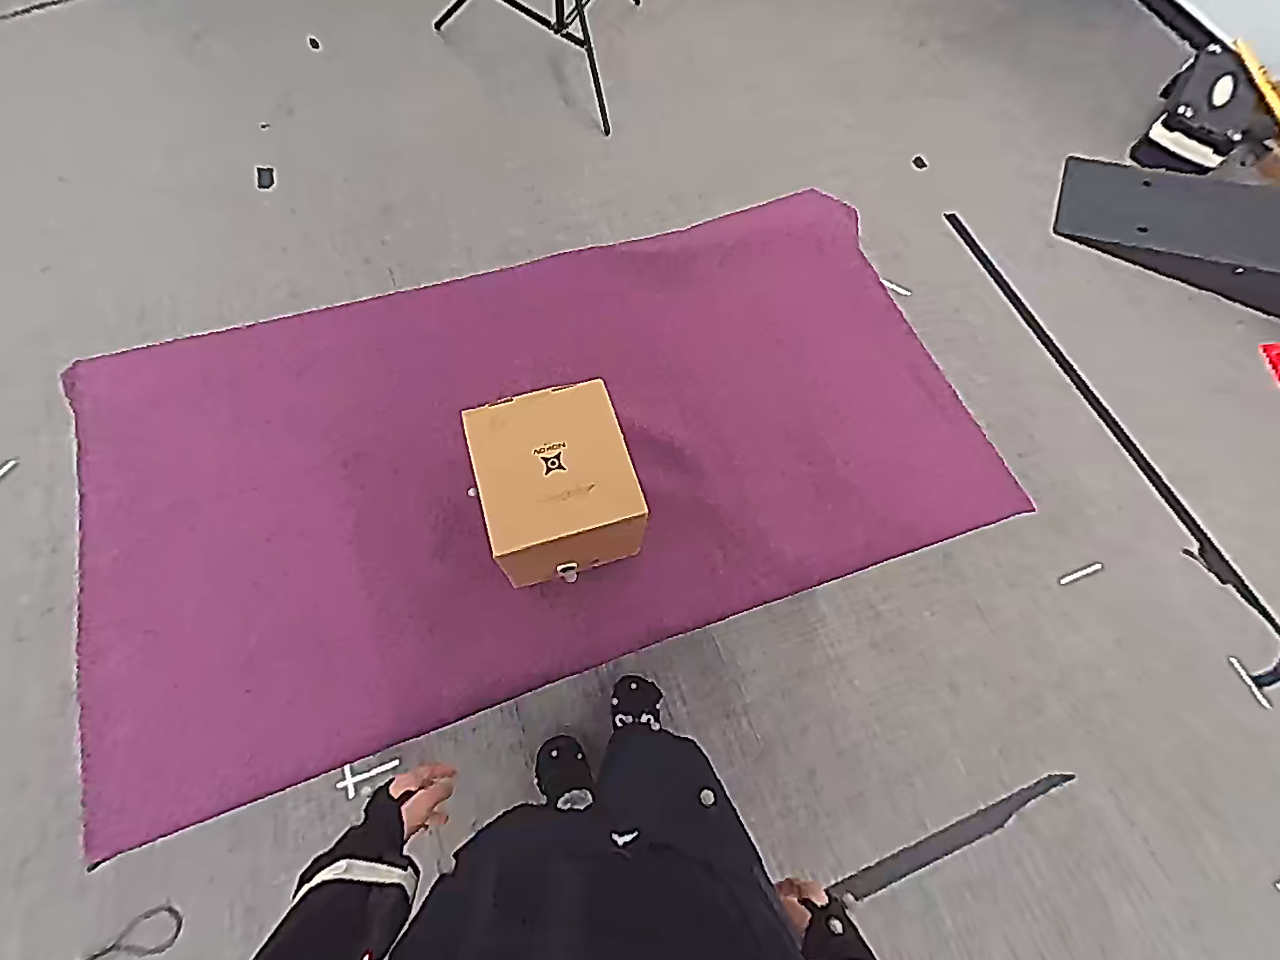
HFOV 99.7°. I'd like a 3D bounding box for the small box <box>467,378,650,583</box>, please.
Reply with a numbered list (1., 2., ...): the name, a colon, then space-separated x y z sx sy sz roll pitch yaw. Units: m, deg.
1. small box: -0.098 0.007 0.658 0.168 0.176 0.179 -16 70 -10
